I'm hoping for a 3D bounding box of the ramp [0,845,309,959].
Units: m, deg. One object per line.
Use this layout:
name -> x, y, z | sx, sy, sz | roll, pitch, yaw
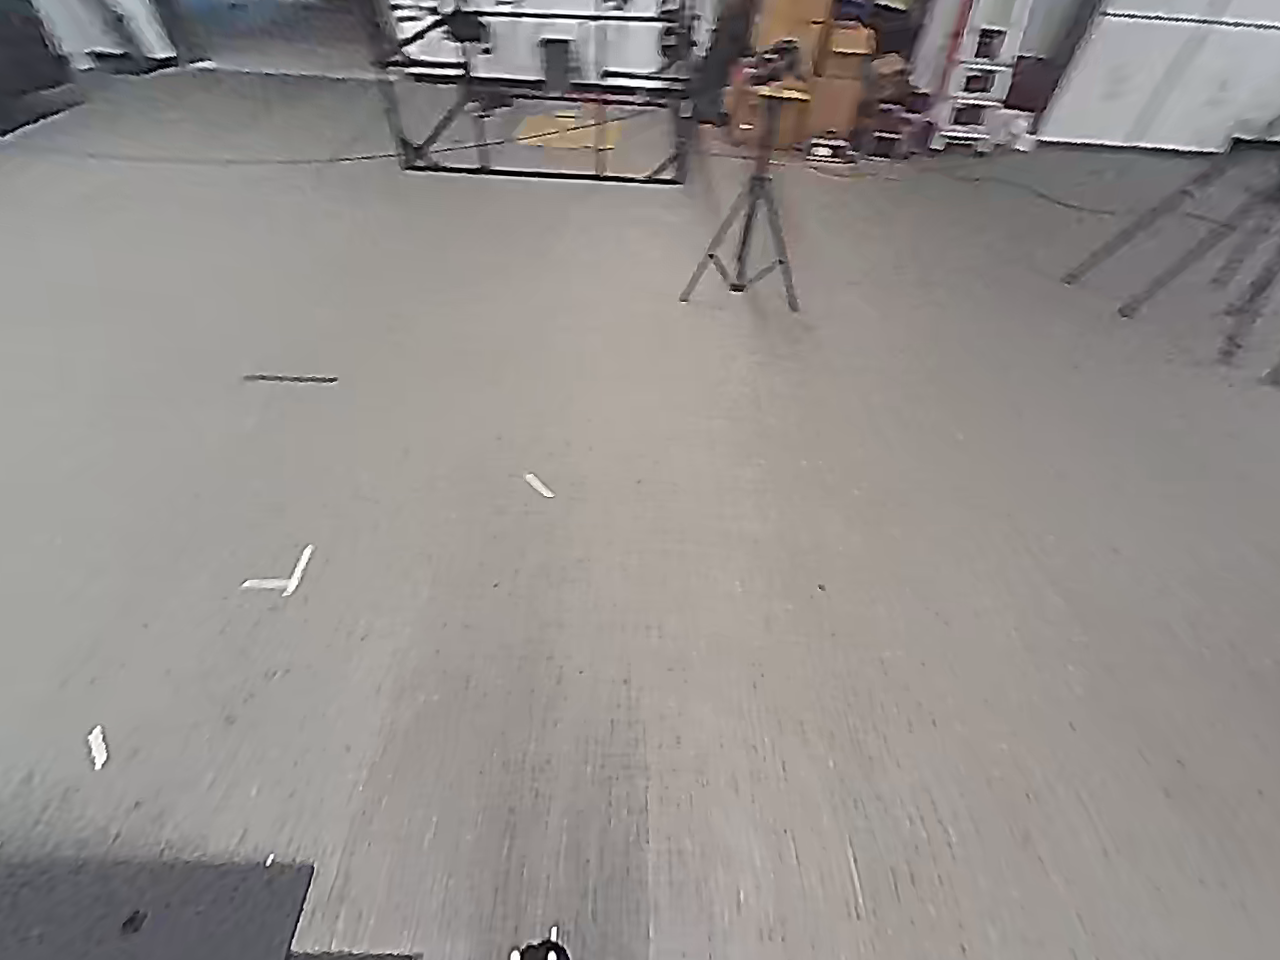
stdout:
ramp -> -1.207, 0.936, 0.951 | 0.991, 0.206, 0.509 | 2, 47, -3
